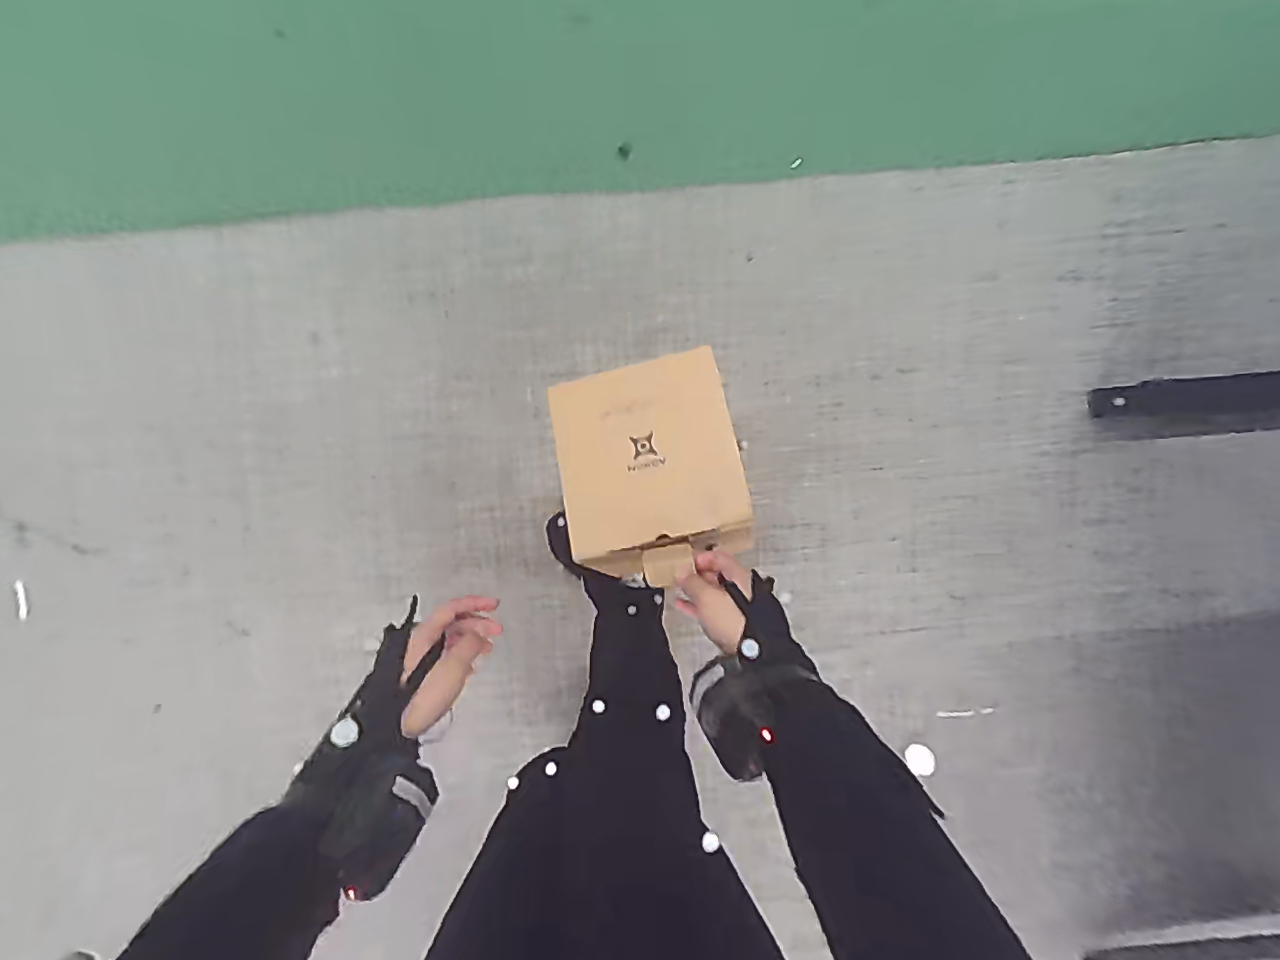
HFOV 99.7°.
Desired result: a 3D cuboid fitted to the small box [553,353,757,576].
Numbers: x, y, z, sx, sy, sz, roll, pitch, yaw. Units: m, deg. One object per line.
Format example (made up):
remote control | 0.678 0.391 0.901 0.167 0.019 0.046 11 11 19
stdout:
small box | 0.023 -0.001 0.565 0.168 0.176 0.179 -13 73 7
